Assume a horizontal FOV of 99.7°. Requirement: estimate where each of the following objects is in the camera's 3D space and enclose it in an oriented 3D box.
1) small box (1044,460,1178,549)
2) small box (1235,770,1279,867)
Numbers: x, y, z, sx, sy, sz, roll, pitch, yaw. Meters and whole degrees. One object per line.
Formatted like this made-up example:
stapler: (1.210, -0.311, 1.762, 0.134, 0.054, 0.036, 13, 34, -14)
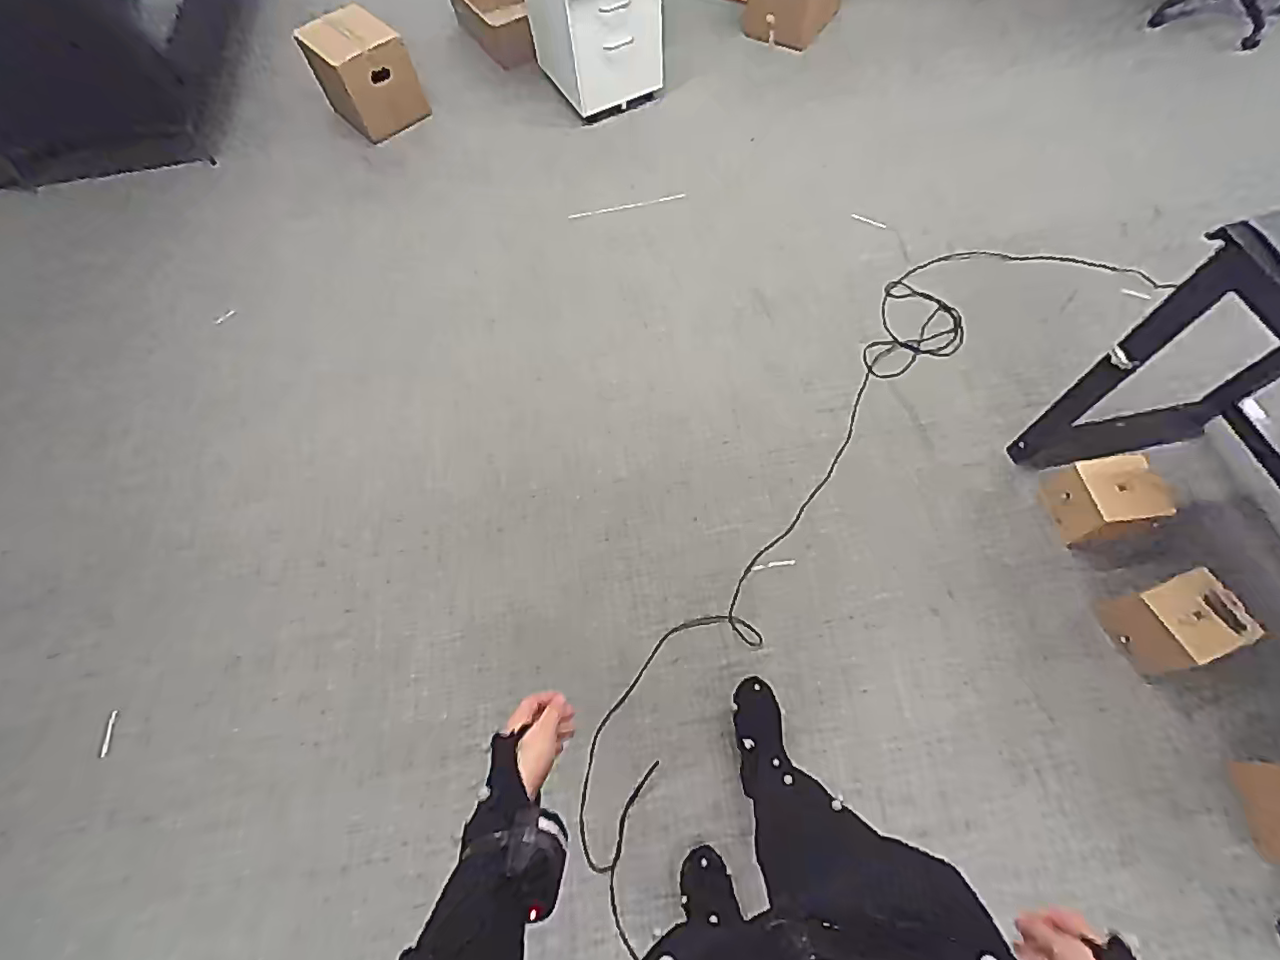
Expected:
small box: (1.185, 0.068, 1.383, 0.179, 0.176, 0.168, -6, 62, 0)
small box: (1.350, 0.673, 1.059, 0.168, 0.176, 0.179, 1, 65, 5)
